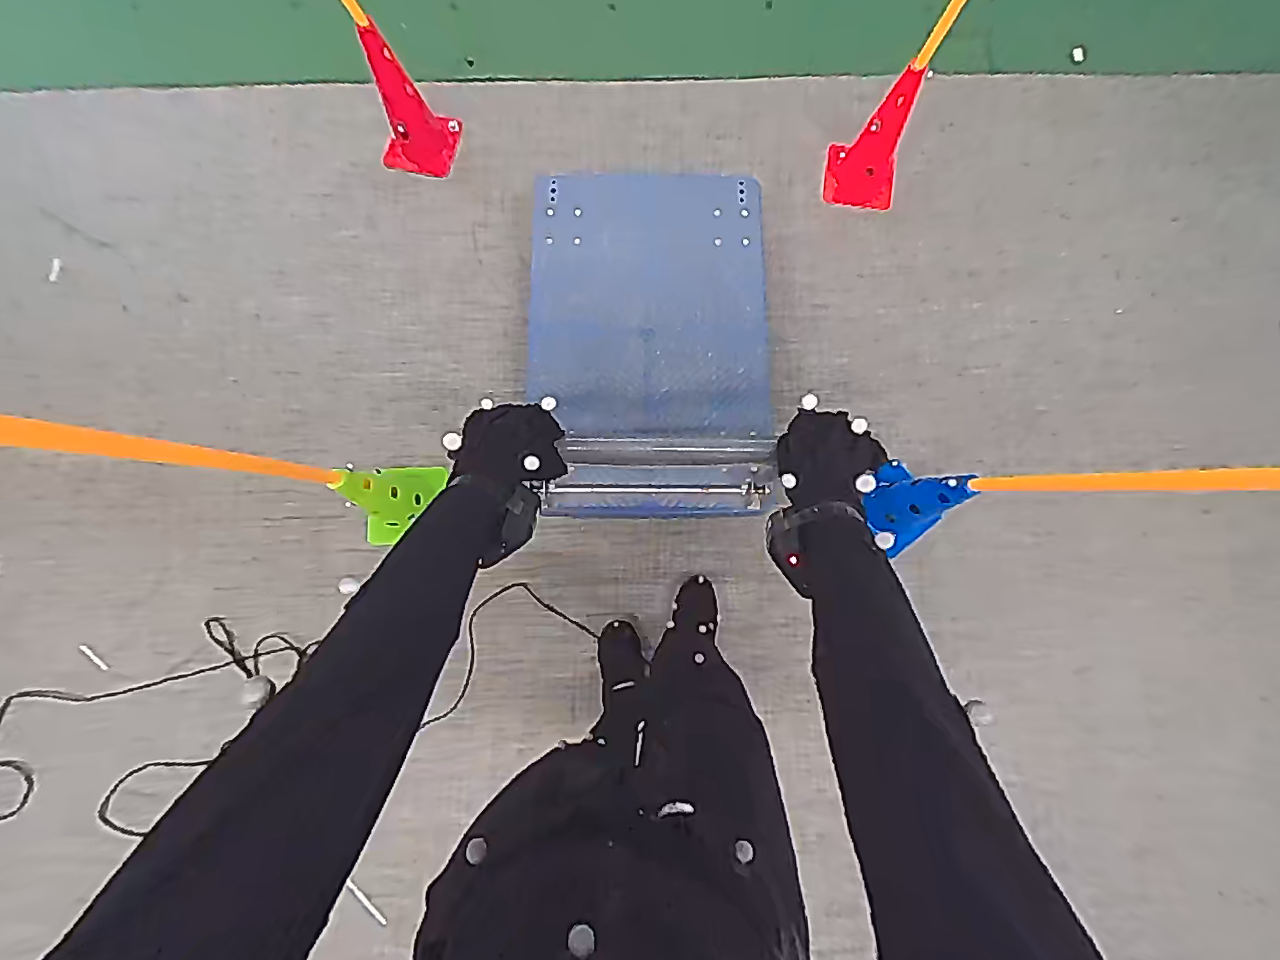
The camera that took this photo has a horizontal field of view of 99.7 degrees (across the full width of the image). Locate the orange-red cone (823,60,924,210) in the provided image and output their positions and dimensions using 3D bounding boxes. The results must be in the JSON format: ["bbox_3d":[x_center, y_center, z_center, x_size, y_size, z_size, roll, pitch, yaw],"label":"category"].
[{"bbox_3d":[0.645,-0.922,1.425,0.198,0.360,0.199,10,80,2],"label":"orange-red cone"}]
